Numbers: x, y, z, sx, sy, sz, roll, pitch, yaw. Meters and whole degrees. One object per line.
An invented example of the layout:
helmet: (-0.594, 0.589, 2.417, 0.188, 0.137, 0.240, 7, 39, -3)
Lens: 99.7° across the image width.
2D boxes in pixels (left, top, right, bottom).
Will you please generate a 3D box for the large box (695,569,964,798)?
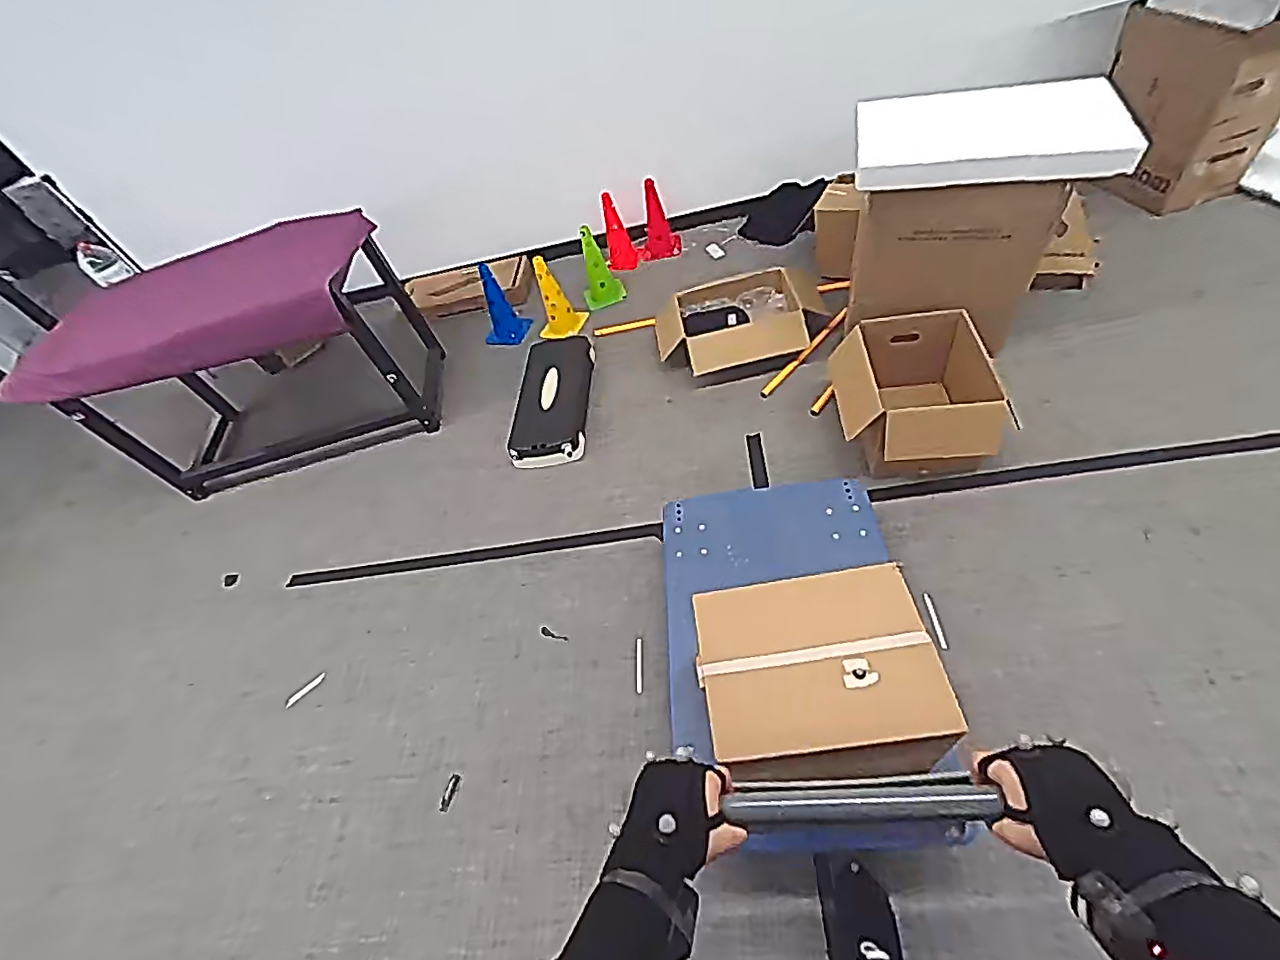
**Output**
large box: (0.344, 0.419, 1.091, 0.408, 0.320, 0.320, -10, 50, 6)
